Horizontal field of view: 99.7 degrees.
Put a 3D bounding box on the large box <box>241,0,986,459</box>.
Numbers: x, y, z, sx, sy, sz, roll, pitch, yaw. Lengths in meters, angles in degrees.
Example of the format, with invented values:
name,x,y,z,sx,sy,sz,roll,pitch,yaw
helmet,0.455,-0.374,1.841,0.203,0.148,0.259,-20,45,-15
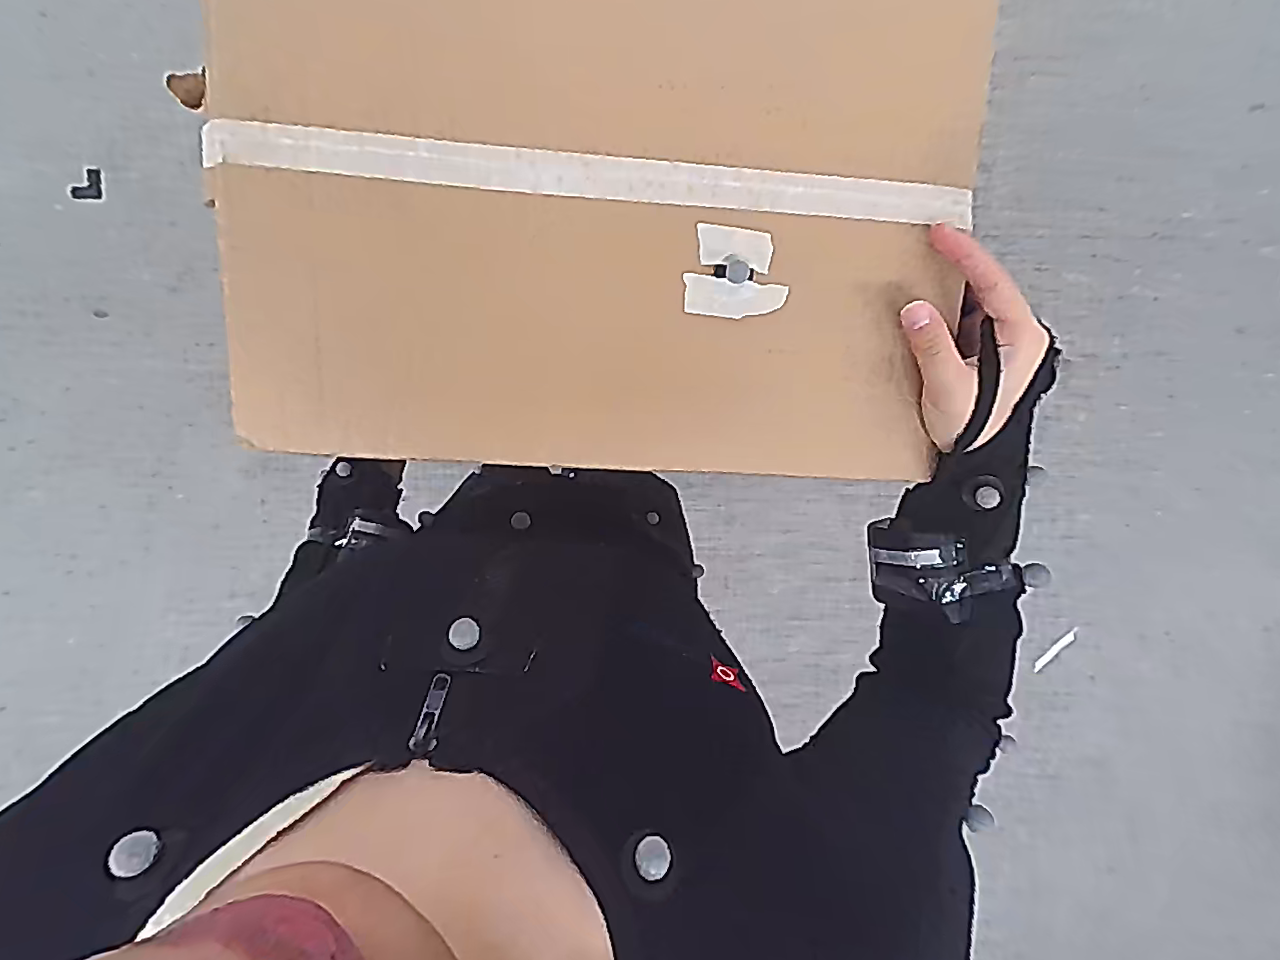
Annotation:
name,x,y,z,sx,sy,sz,roll,pitch,yaw
large box,-0.023,-0.192,0.447,0.408,0.320,0.320,2,100,-7
